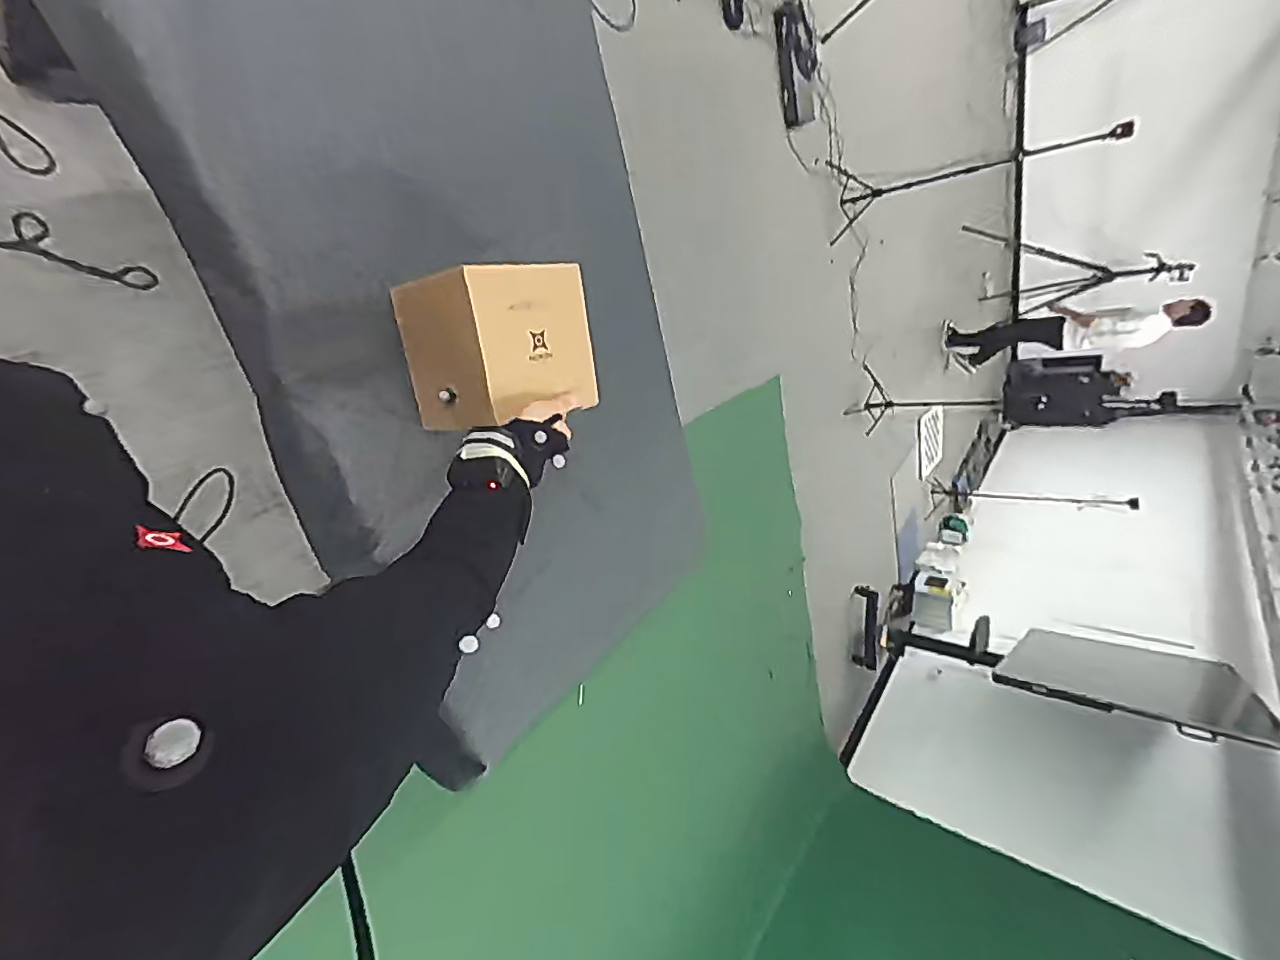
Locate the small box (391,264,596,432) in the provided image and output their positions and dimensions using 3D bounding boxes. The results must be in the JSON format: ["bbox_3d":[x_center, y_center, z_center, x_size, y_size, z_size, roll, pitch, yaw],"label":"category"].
[{"bbox_3d":[-0.181,-0.165,0.680,0.168,0.176,0.179,-26,114,-46],"label":"small box"}]
